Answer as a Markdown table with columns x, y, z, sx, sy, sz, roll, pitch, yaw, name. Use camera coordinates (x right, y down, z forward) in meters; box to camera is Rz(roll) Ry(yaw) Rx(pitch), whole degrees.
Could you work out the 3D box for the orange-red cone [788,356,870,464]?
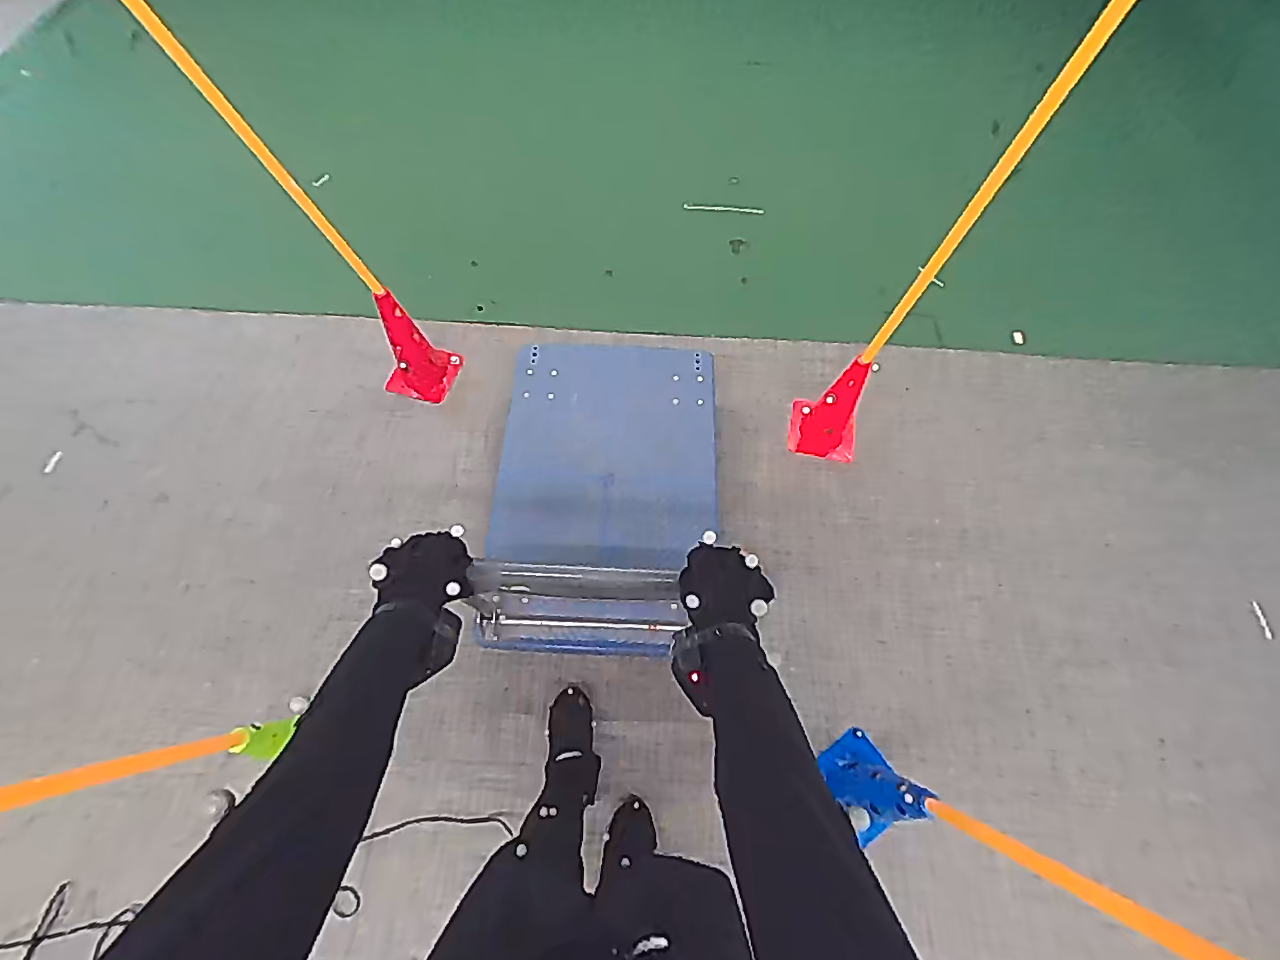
| x | y | z | sx | sy | sz | roll | pitch | yaw | name |
| --- | --- | --- | --- | --- | --- | --- | --- | --- | --- |
| 0.571 | -0.224 | 1.536 | 0.198 | 0.360 | 0.199 | 13 | 65 | 6 | orange-red cone |
